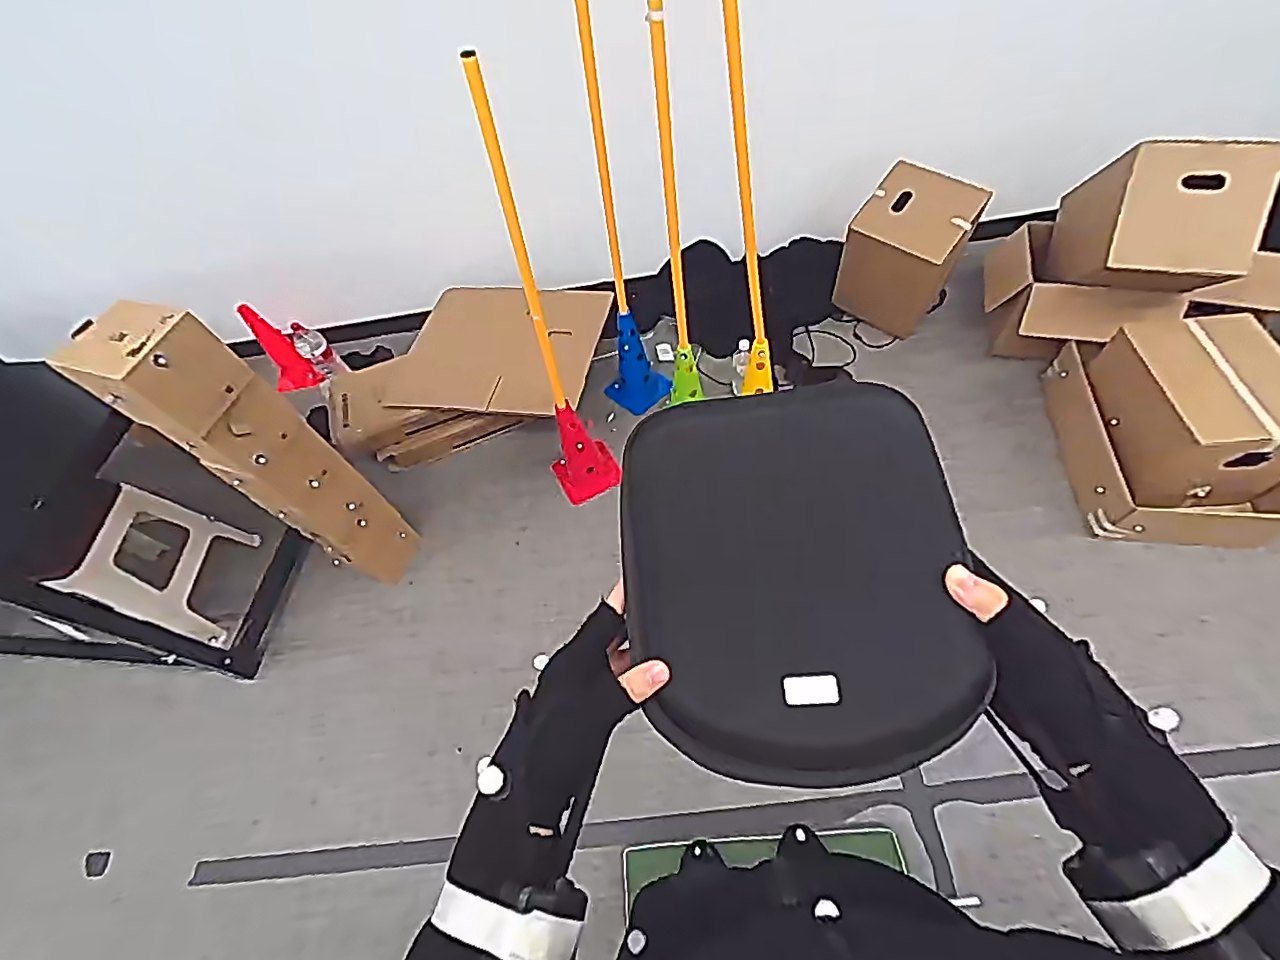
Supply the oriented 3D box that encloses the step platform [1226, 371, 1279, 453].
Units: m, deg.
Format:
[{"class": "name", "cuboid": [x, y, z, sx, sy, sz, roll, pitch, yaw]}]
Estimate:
[{"class": "step platform", "cuboid": [2.110, -0.308, 1.576, 0.684, 0.204, 0.286, -33, 59, -12]}]
